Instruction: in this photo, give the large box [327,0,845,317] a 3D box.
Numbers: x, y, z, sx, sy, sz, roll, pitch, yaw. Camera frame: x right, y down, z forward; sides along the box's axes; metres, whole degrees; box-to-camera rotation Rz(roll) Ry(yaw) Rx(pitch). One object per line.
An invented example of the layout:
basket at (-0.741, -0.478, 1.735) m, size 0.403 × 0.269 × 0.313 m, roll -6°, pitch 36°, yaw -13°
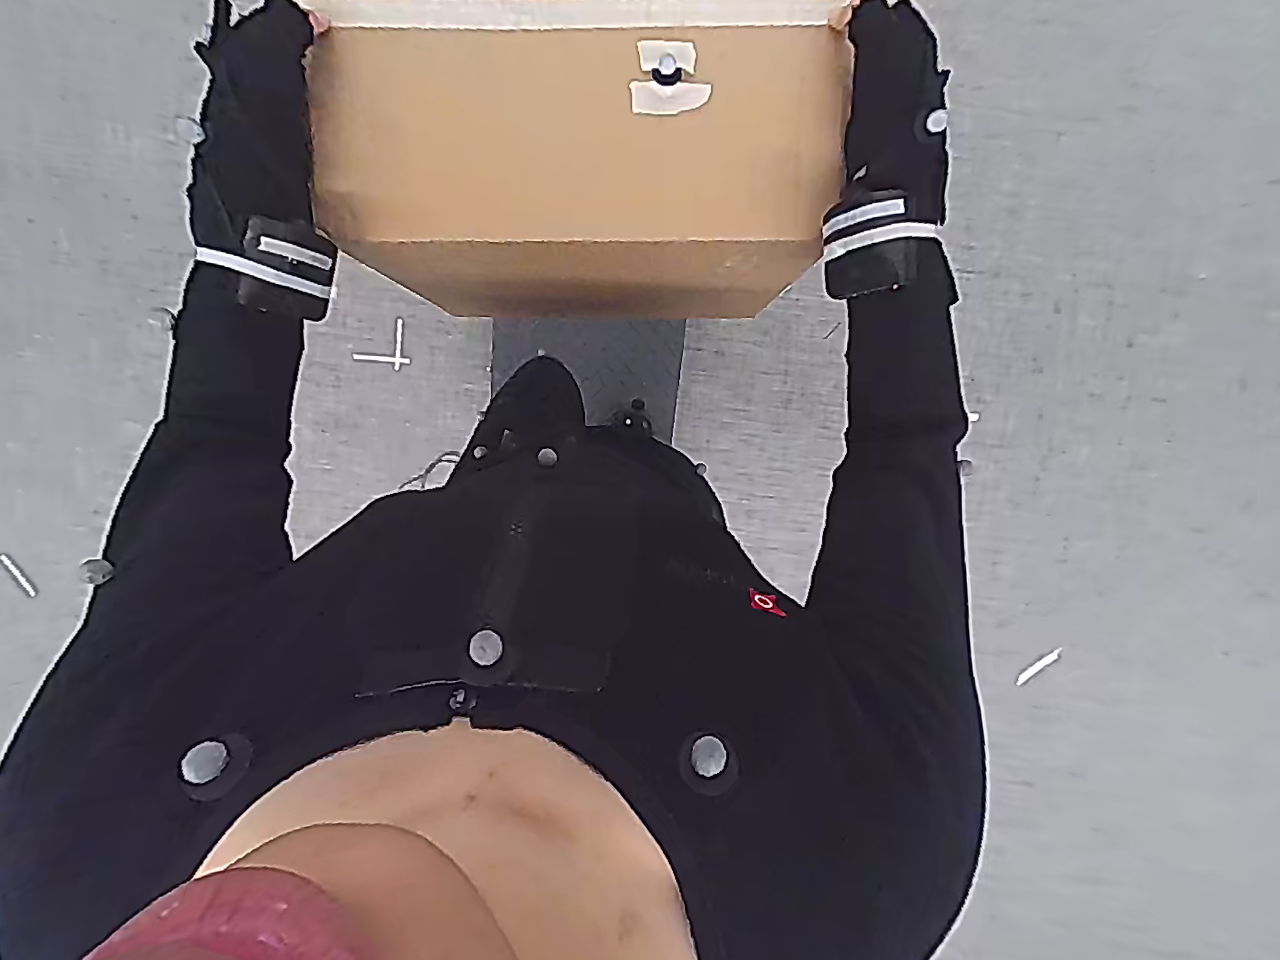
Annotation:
large box at (-0.043, -0.361, 0.561) m, size 0.408 × 0.320 × 0.320 m, roll -1°, pitch 96°, yaw -1°
